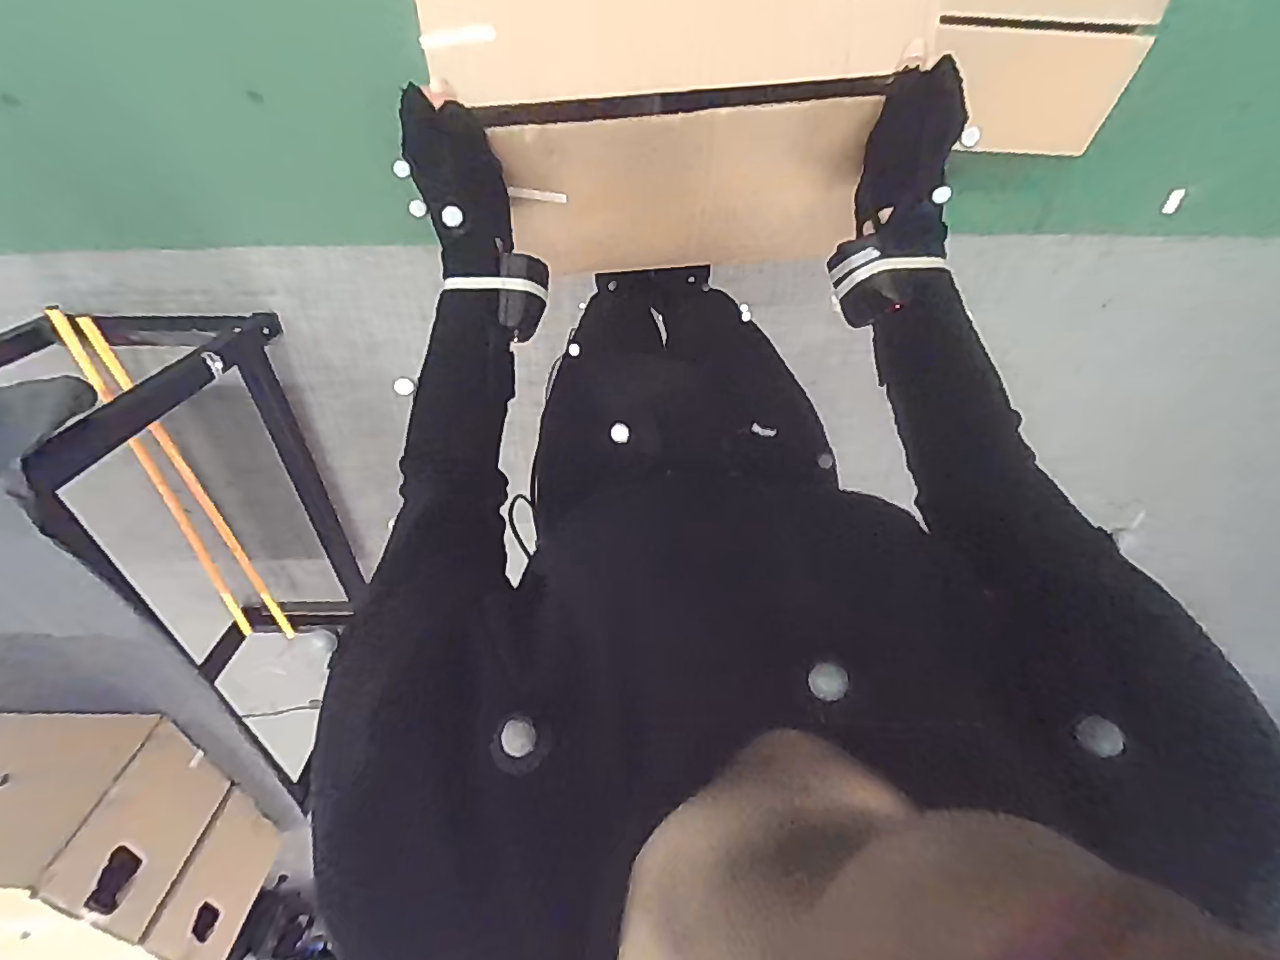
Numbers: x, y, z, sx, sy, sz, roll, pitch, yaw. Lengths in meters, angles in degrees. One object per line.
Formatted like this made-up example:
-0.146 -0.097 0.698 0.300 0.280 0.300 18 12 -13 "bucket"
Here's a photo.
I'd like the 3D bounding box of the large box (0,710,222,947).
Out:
-1.177 0.681 1.066 0.408 0.320 0.320 -1 127 0 "large box"
